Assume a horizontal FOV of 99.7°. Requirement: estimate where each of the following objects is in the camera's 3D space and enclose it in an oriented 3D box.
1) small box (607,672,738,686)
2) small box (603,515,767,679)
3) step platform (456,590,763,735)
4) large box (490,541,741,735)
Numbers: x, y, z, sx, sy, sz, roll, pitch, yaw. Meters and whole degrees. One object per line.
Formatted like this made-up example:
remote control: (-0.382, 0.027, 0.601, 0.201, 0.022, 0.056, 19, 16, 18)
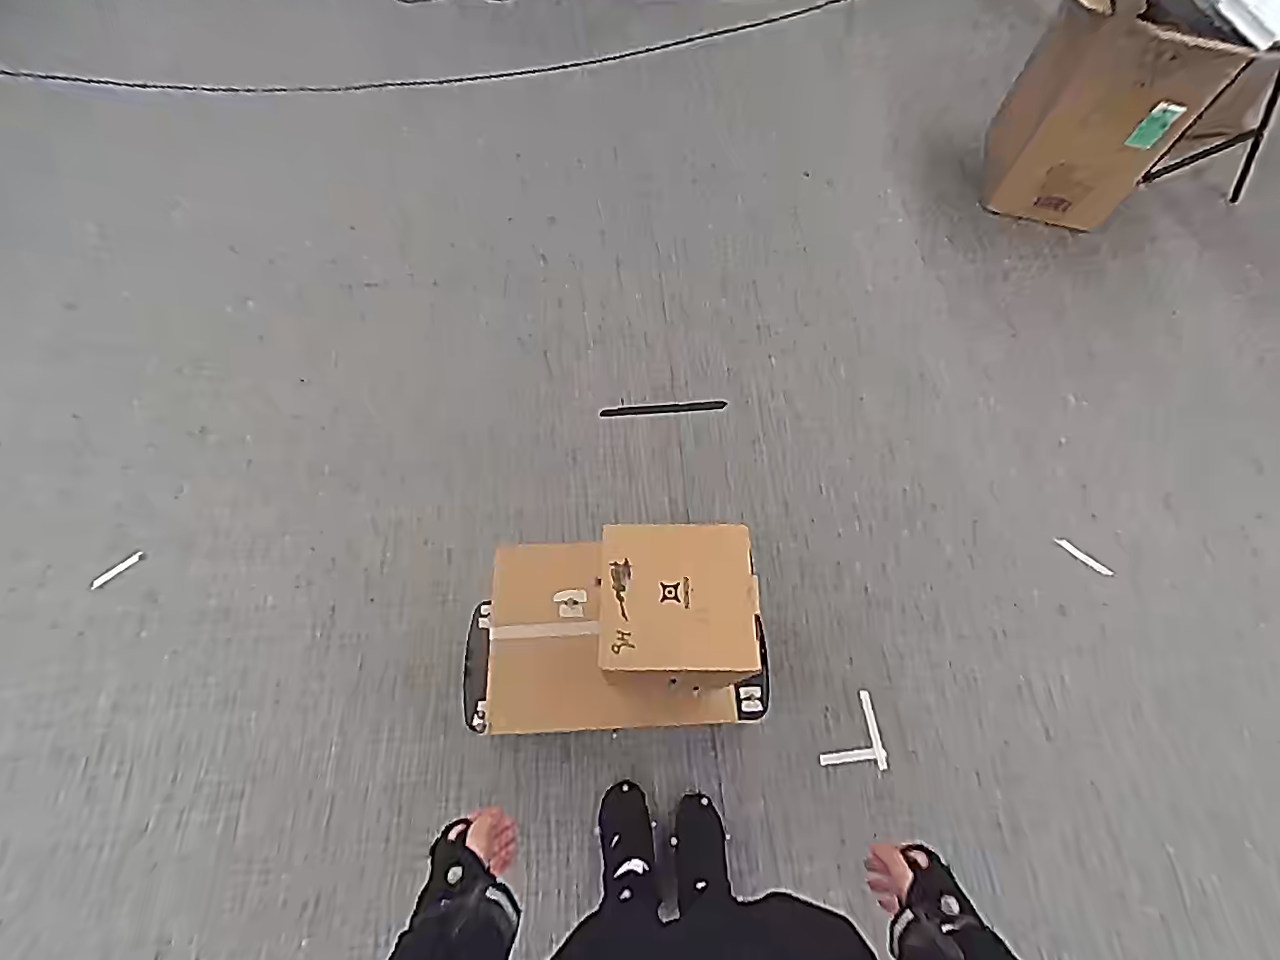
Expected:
small box: (0.044, 0.218, 0.819, 0.179, 0.176, 0.168, 1, 66, 0)
small box: (0.046, 0.151, 0.669, 0.179, 0.176, 0.168, 1, 65, -1)
step platform: (-0.064, 0.421, 1.255, 0.684, 0.204, 0.286, 2, 66, 1)
large box: (-0.045, 0.307, 1.045, 0.408, 0.320, 0.320, -3, 65, -1)
